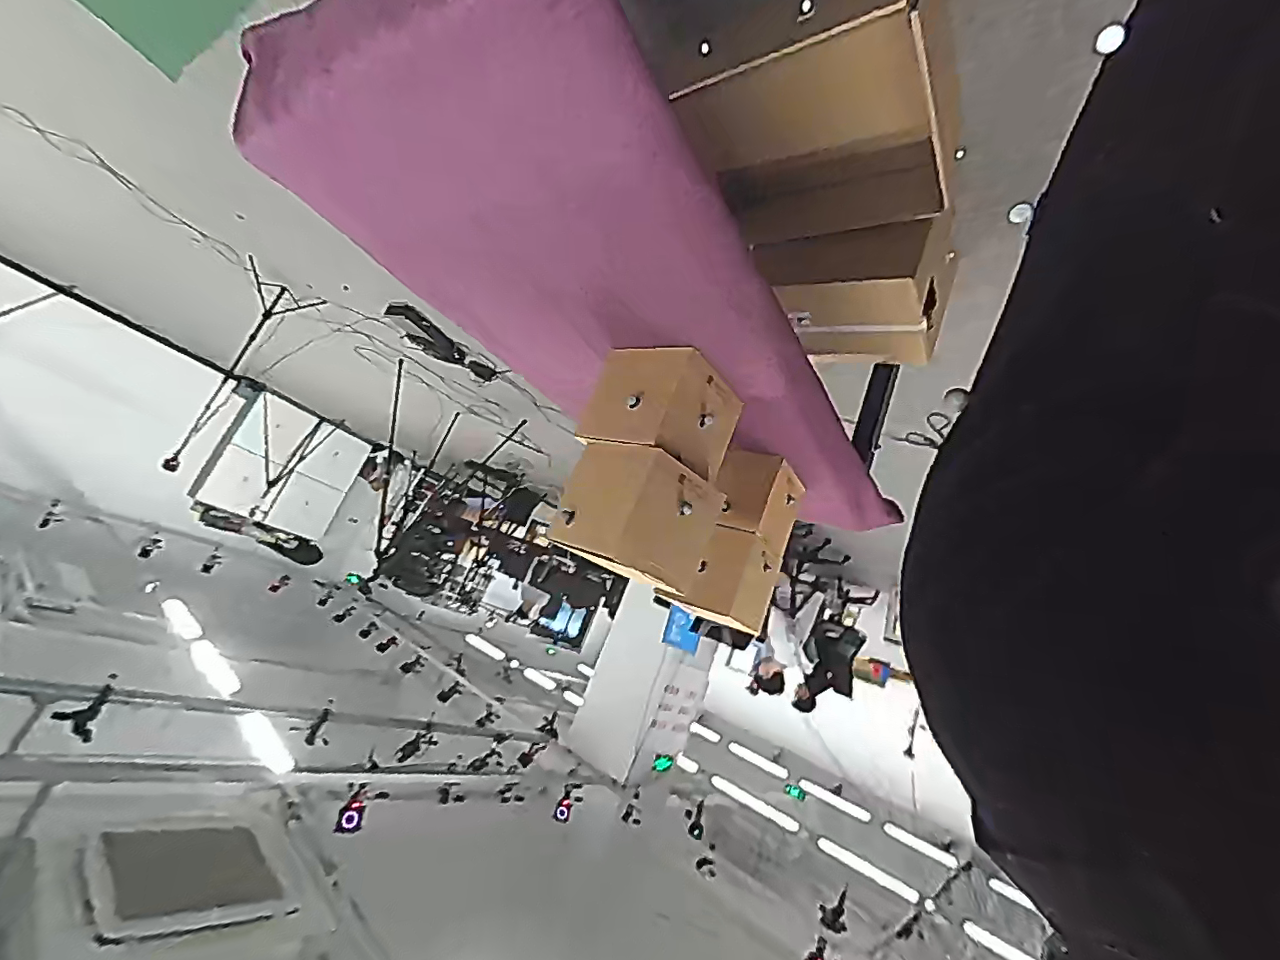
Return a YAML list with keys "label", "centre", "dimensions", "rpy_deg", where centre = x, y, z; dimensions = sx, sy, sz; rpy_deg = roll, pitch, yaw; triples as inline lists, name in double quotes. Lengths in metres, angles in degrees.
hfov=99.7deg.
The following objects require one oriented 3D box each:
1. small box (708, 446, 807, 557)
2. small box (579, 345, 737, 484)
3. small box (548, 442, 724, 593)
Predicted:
- label: "small box"
  centre: [0.227, 0.040, 1.138]
  dimensions: [0.179, 0.176, 0.168]
  rpy_deg: [11, 162, 37]
- label: "small box"
  centre: [0.038, -0.104, 0.873]
  dimensions: [0.179, 0.176, 0.168]
  rpy_deg: [10, 161, 43]
- label: "small box"
  centre: [-0.002, 0.050, 0.825]
  dimensions: [0.168, 0.176, 0.179]
  rpy_deg: [32, 163, -39]
